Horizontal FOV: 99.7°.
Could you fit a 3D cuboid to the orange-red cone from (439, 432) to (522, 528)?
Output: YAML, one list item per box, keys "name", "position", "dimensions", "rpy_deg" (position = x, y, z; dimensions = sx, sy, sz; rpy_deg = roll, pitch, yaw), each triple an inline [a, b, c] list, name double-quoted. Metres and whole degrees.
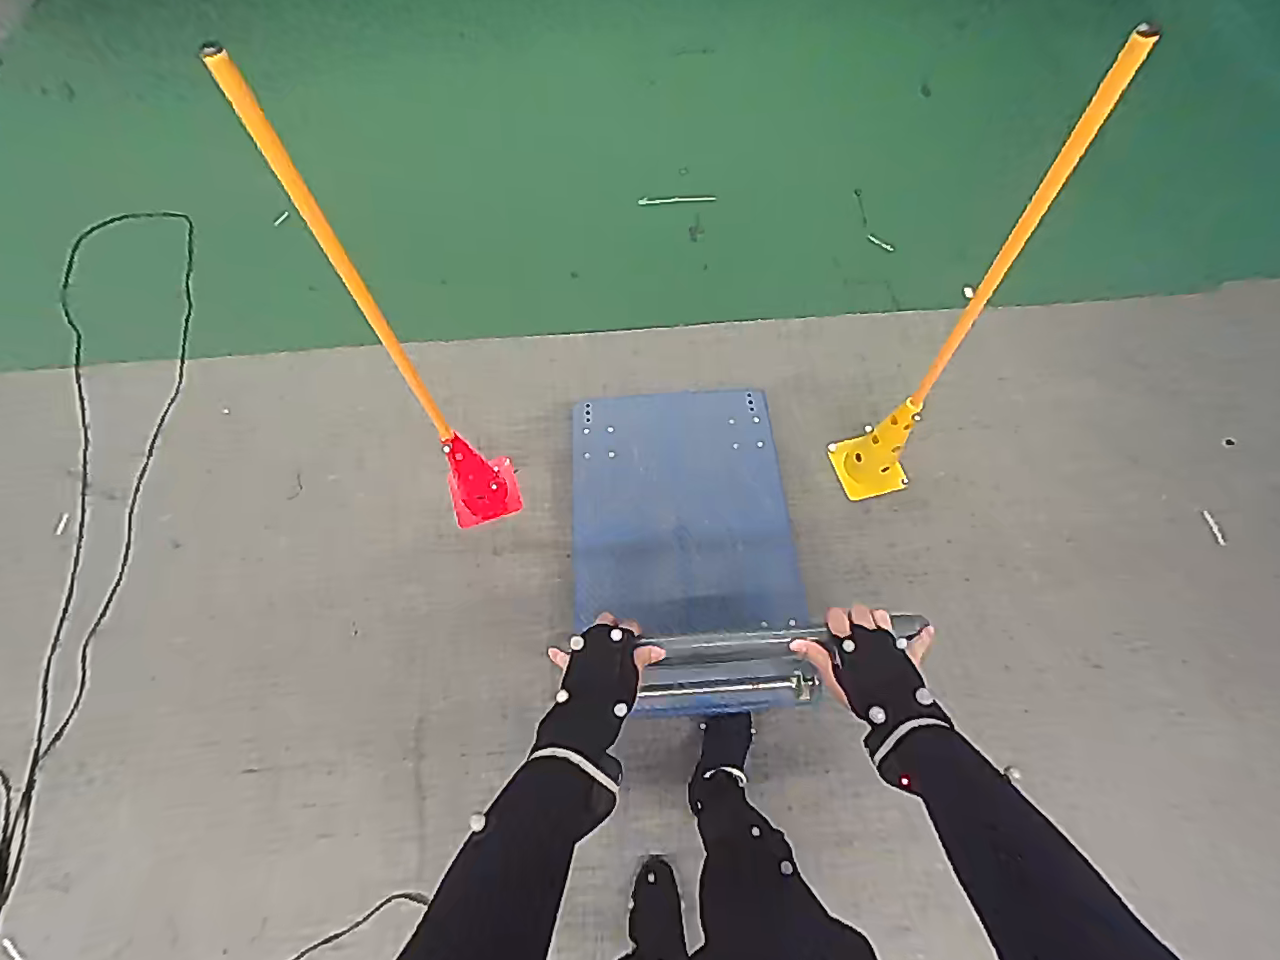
- name: "orange-red cone"
  position: [-0.480, -0.030, 1.511]
  dimensions: [0.199, 0.360, 0.198]
  rpy_deg: [-18, 65, -5]
